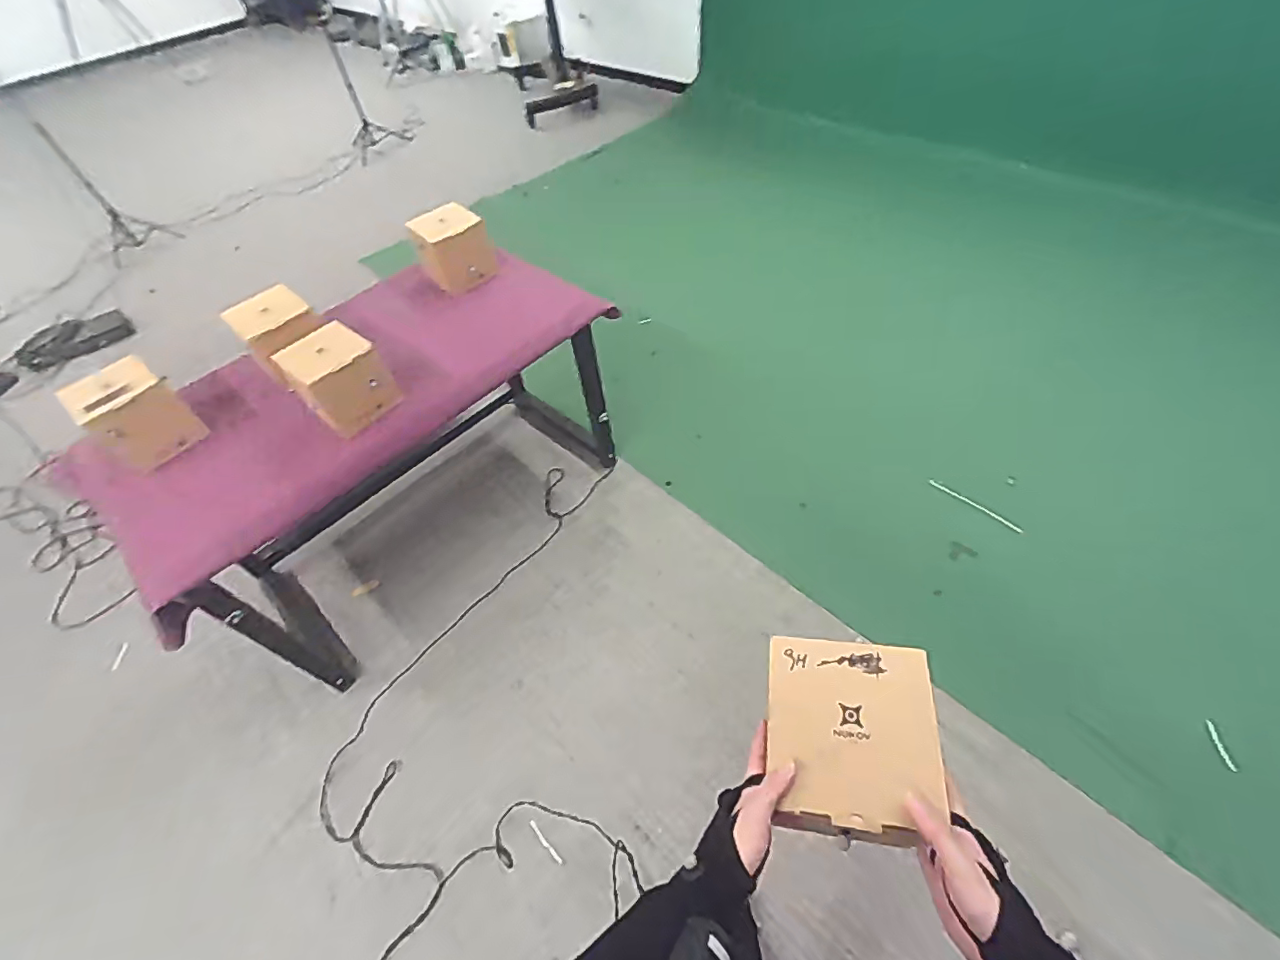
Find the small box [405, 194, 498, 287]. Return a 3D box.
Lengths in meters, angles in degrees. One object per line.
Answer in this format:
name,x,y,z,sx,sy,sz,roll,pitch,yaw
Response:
small box,-0.547,-0.697,1.581,0.168,0.176,0.179,-38,59,-19

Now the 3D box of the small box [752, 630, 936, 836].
small box,0.215,0.289,0.613,0.168,0.176,0.179,2,56,12

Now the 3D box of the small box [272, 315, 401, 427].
small box,-0.697,-0.248,1.261,0.179,0.176,0.168,31,62,28

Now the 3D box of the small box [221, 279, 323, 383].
small box,-0.910,-0.379,1.386,0.179,0.176,0.168,35,64,27
